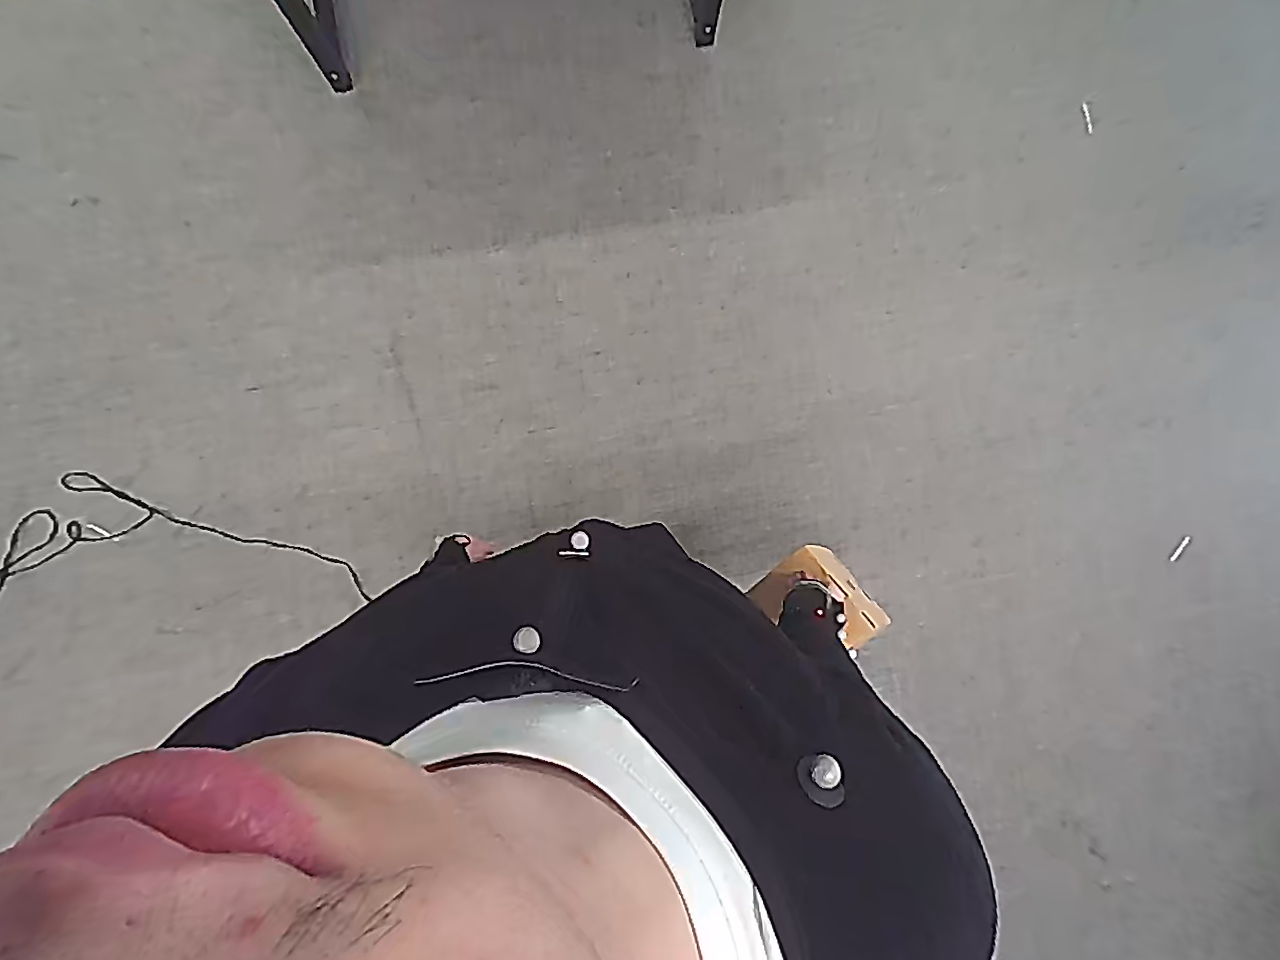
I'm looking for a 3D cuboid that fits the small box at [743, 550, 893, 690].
[{"bbox_3d":[0.306,0.240,0.943,0.176,0.179,0.168,-48,62,16],"label":"small box"}]
